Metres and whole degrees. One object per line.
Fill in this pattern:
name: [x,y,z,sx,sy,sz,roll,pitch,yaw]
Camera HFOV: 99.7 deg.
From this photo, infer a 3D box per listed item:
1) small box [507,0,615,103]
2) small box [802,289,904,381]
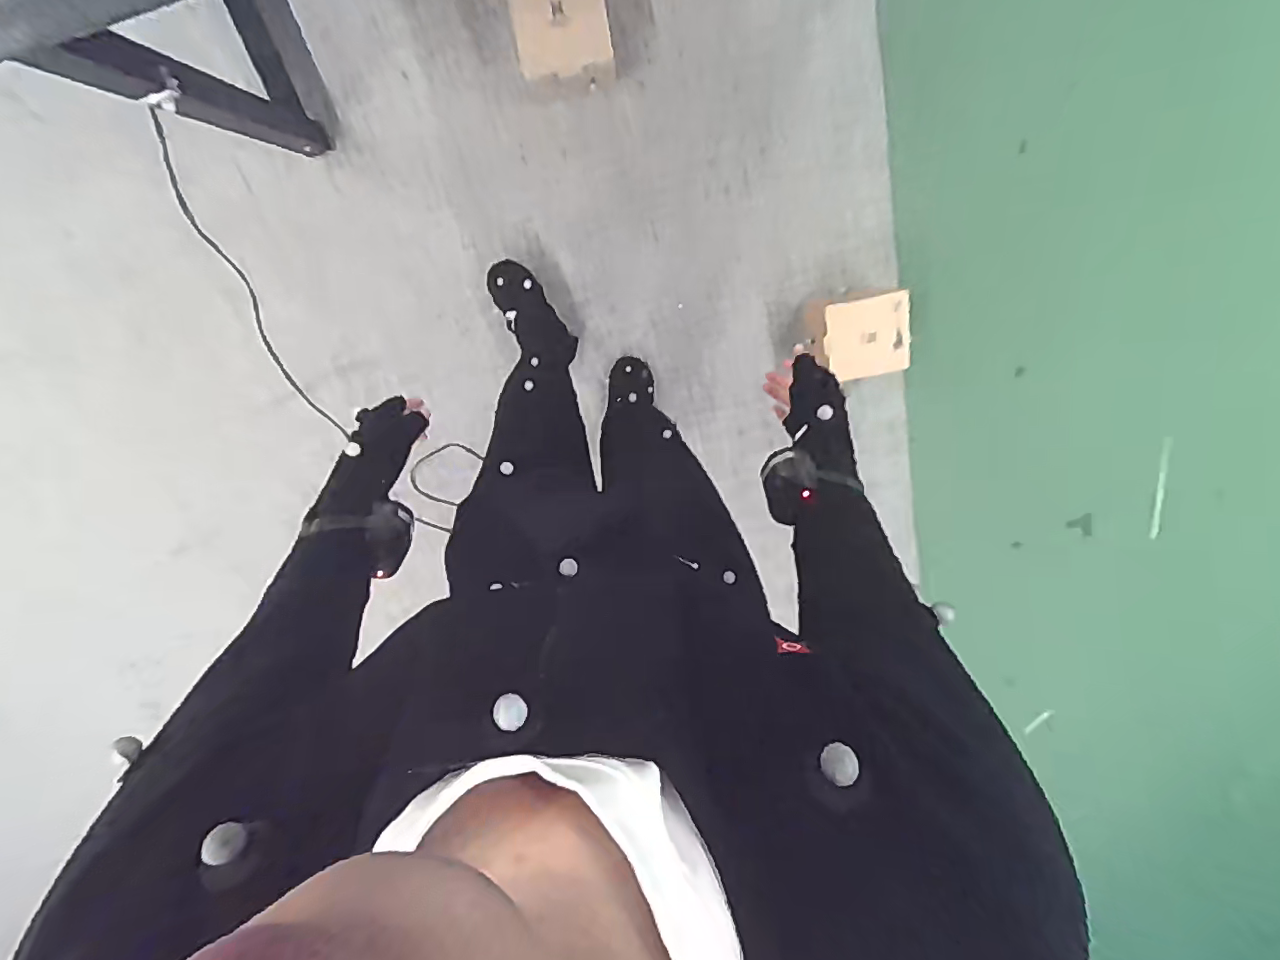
small box: [-0.143,-0.832,1.007,0.168,0.176,0.179,-11,110,2]
small box: [0.473,-0.332,1.225,0.179,0.176,0.168,-9,112,3]
